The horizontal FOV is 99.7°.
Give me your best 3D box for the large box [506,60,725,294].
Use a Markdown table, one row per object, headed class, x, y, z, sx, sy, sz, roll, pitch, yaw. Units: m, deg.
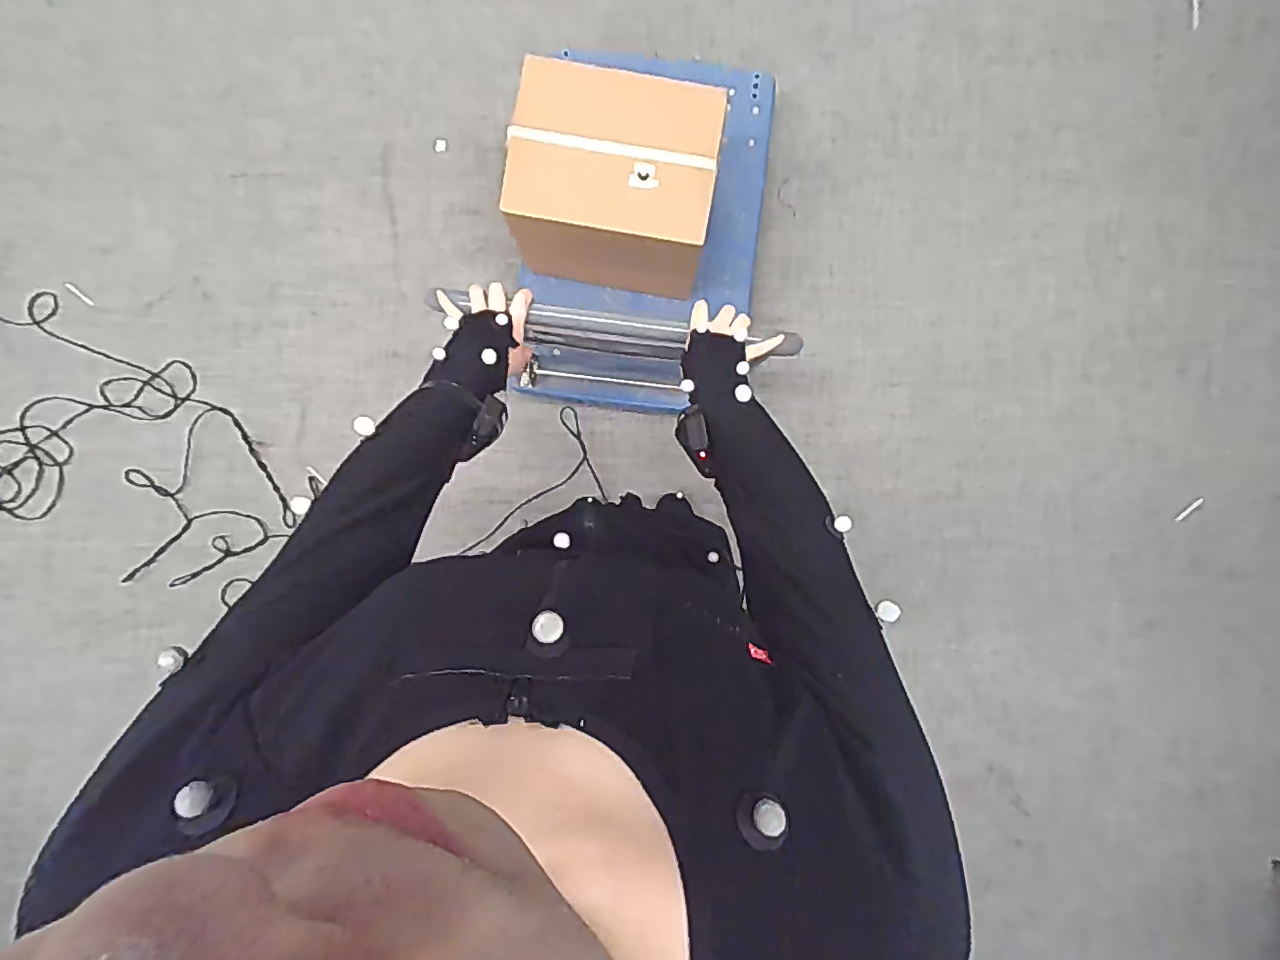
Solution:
| class | x | y | z | sx | sy | sz | roll | pitch | yaw |
| --- | --- | --- | --- | --- | --- | --- | --- | --- | --- |
| large box | -0.053 | -0.646 | 1.212 | 0.408 | 0.320 | 0.320 | 9 | 89 | -1 |
